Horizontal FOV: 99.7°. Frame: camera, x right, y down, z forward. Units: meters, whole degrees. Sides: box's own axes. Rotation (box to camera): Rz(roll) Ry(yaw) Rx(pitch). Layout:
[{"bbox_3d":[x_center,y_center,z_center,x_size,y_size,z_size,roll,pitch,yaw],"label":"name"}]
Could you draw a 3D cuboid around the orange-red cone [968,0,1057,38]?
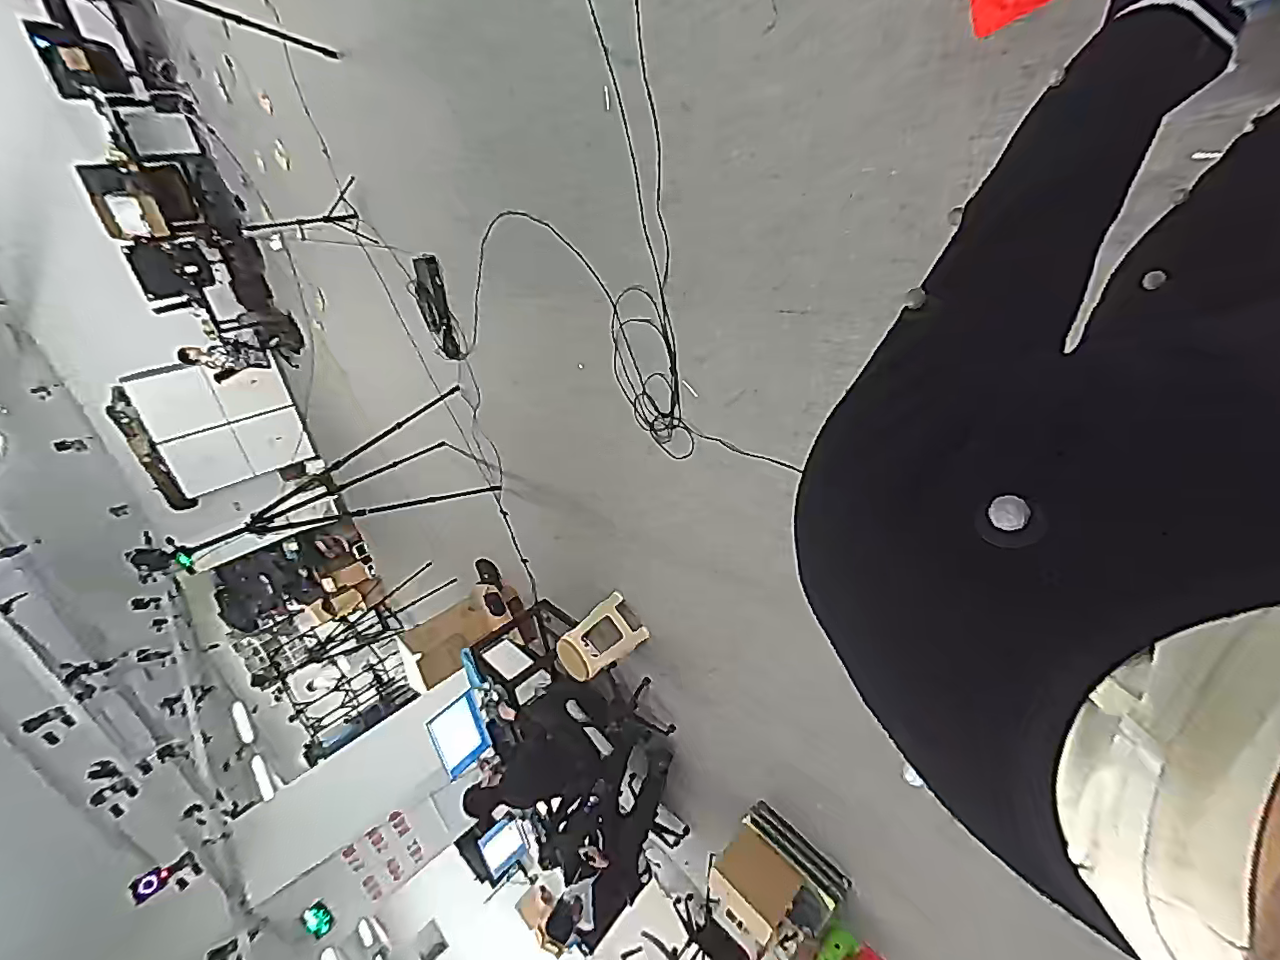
[{"bbox_3d":[0.644,-0.978,0.991,0.199,0.360,0.198,3,116,51],"label":"orange-red cone"}]
